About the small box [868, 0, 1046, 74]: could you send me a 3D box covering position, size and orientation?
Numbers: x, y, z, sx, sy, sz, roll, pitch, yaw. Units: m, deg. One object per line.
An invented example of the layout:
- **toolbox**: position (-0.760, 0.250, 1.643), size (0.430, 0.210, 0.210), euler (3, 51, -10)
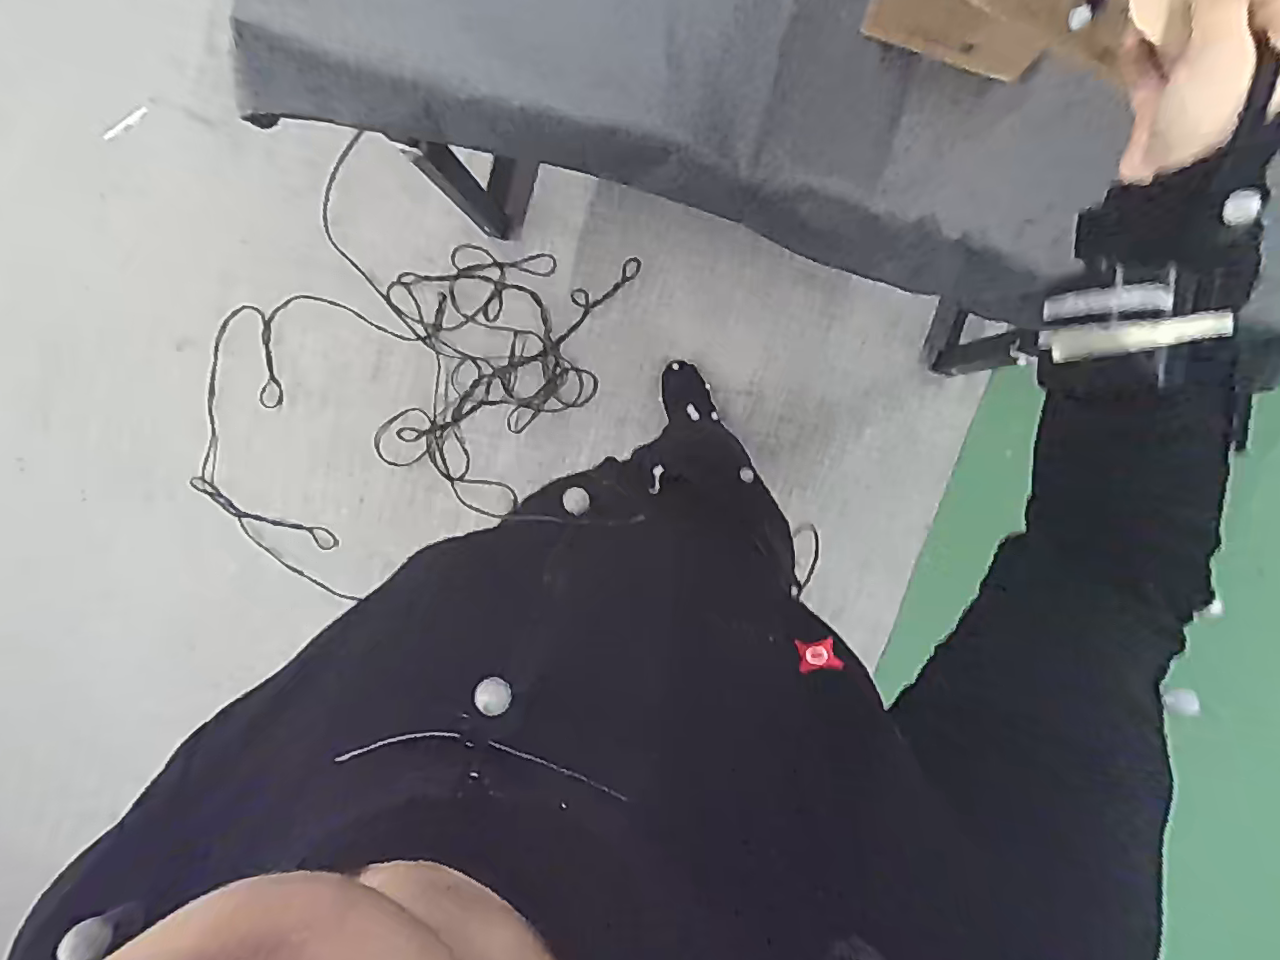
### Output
- **small box**: position (0.323, -0.505, 0.465), size (0.168, 0.176, 0.179), euler (20, 96, 1)

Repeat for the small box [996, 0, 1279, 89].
- **small box**: position (0.322, -0.352, 0.274), size (0.168, 0.176, 0.179), euler (29, 112, -2)
